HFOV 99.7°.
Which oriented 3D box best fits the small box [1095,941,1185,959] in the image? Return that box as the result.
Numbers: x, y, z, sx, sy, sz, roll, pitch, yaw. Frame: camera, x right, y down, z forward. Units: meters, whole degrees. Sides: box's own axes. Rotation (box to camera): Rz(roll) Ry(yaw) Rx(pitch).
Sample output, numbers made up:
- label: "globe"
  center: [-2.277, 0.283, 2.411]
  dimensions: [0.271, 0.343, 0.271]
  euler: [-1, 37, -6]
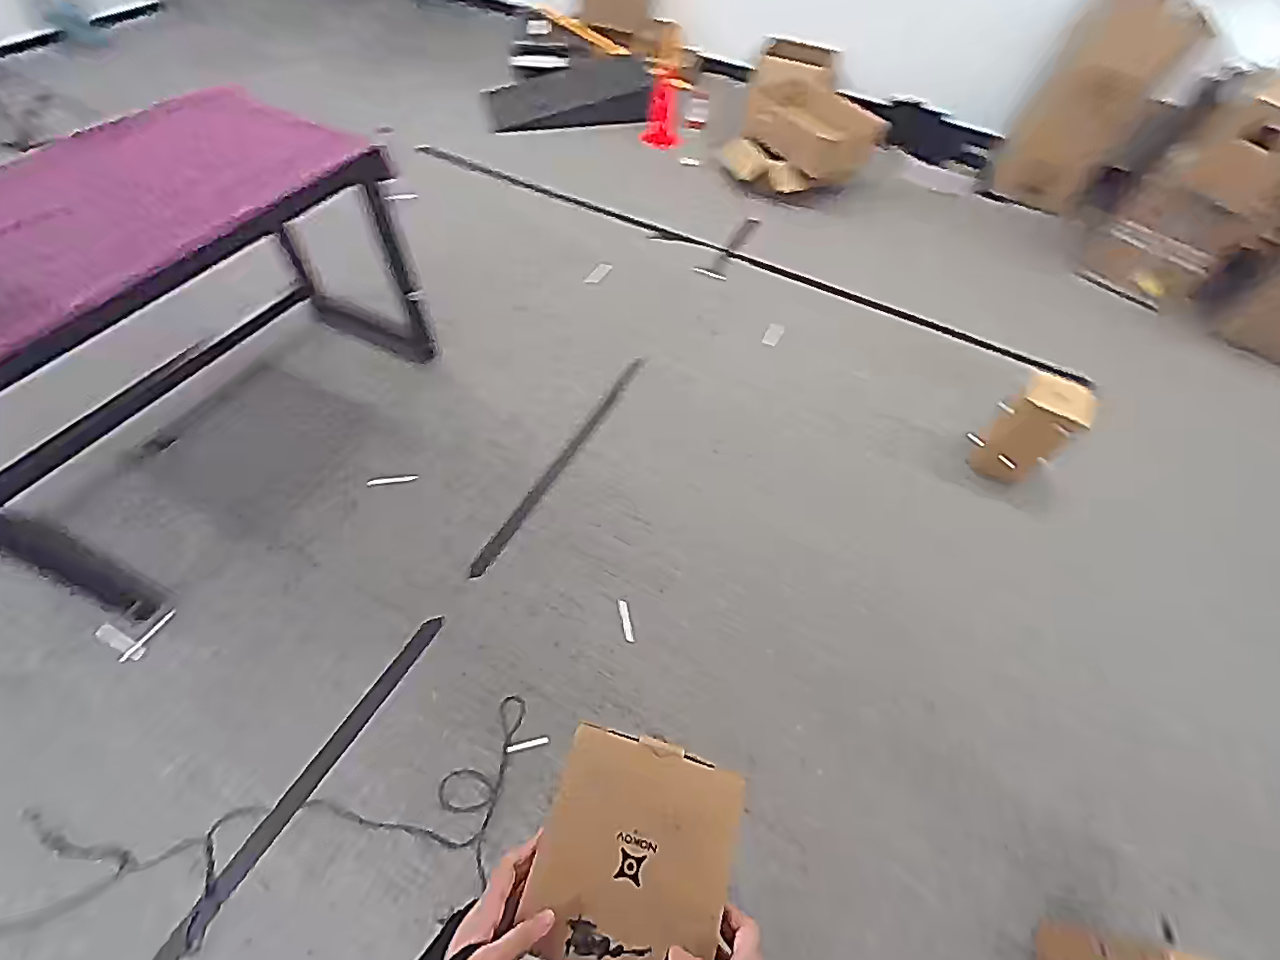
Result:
- label: "small box"
  center: [0.921, 0.930, 0.923]
  dimensions: [0.179, 0.176, 0.168]
  euler: [23, 58, 10]

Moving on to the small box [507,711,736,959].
- label: "small box"
  center: [-0.014, 0.353, 0.543]
  dimensions: [0.168, 0.176, 0.179]
  euler: [14, 62, 6]

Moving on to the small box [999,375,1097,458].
- label: "small box"
  center: [1.287, -0.194, 1.711]
  dimensions: [0.179, 0.176, 0.168]
  euler: [29, 58, 15]
